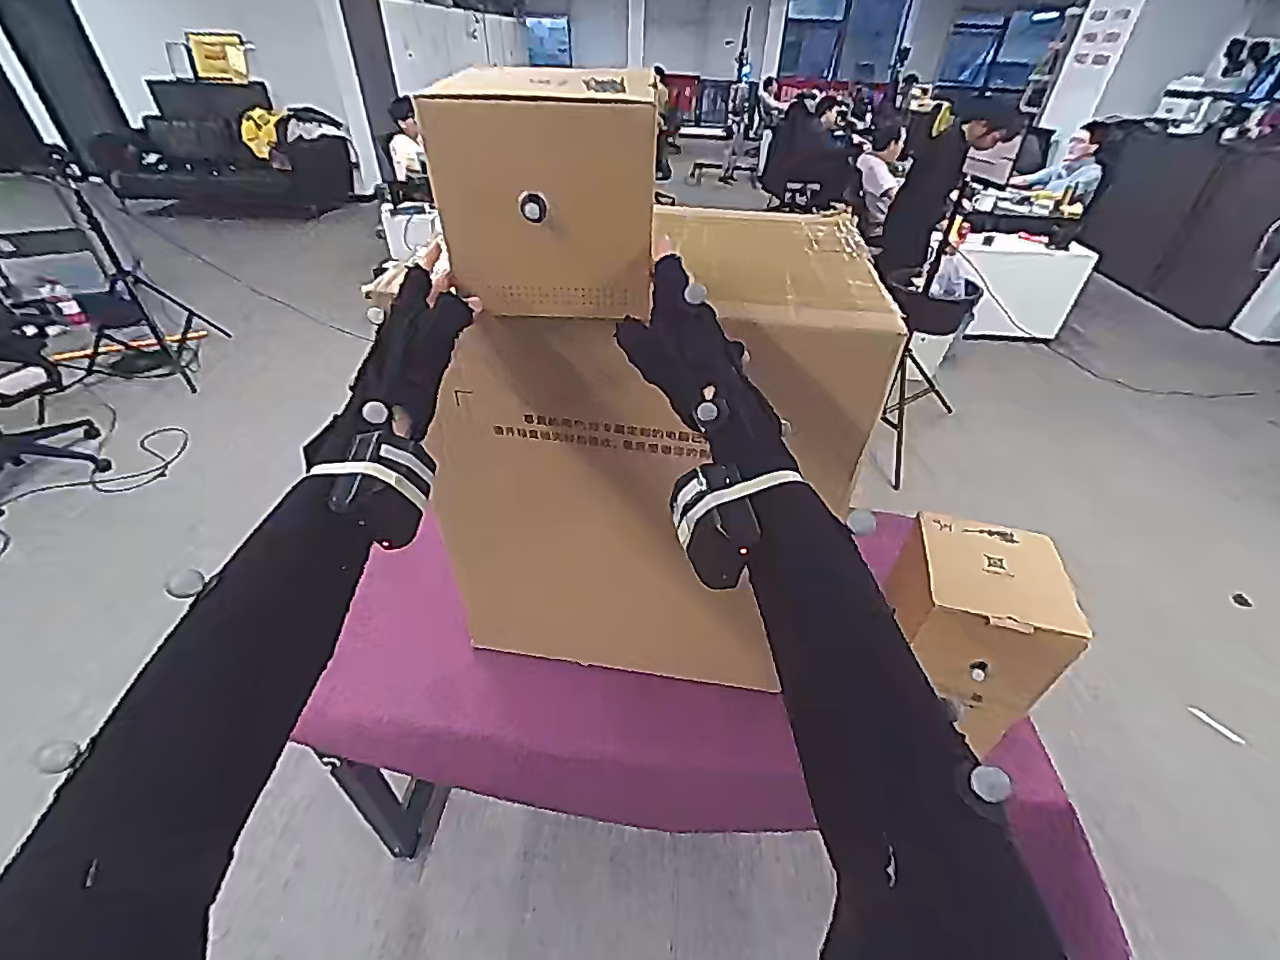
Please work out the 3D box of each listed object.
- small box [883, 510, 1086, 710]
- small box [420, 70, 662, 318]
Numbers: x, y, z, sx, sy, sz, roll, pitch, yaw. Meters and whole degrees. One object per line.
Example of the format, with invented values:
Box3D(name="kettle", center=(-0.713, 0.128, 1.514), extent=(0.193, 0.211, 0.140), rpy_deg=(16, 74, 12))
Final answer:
Box3D(name="small box", center=(0.435, 0.172, 0.719), extent=(0.168, 0.176, 0.179), rpy_deg=(13, 40, 12))
Box3D(name="small box", center=(-0.071, -0.261, 0.500), extent=(0.179, 0.176, 0.168), rpy_deg=(1, 42, 1))
